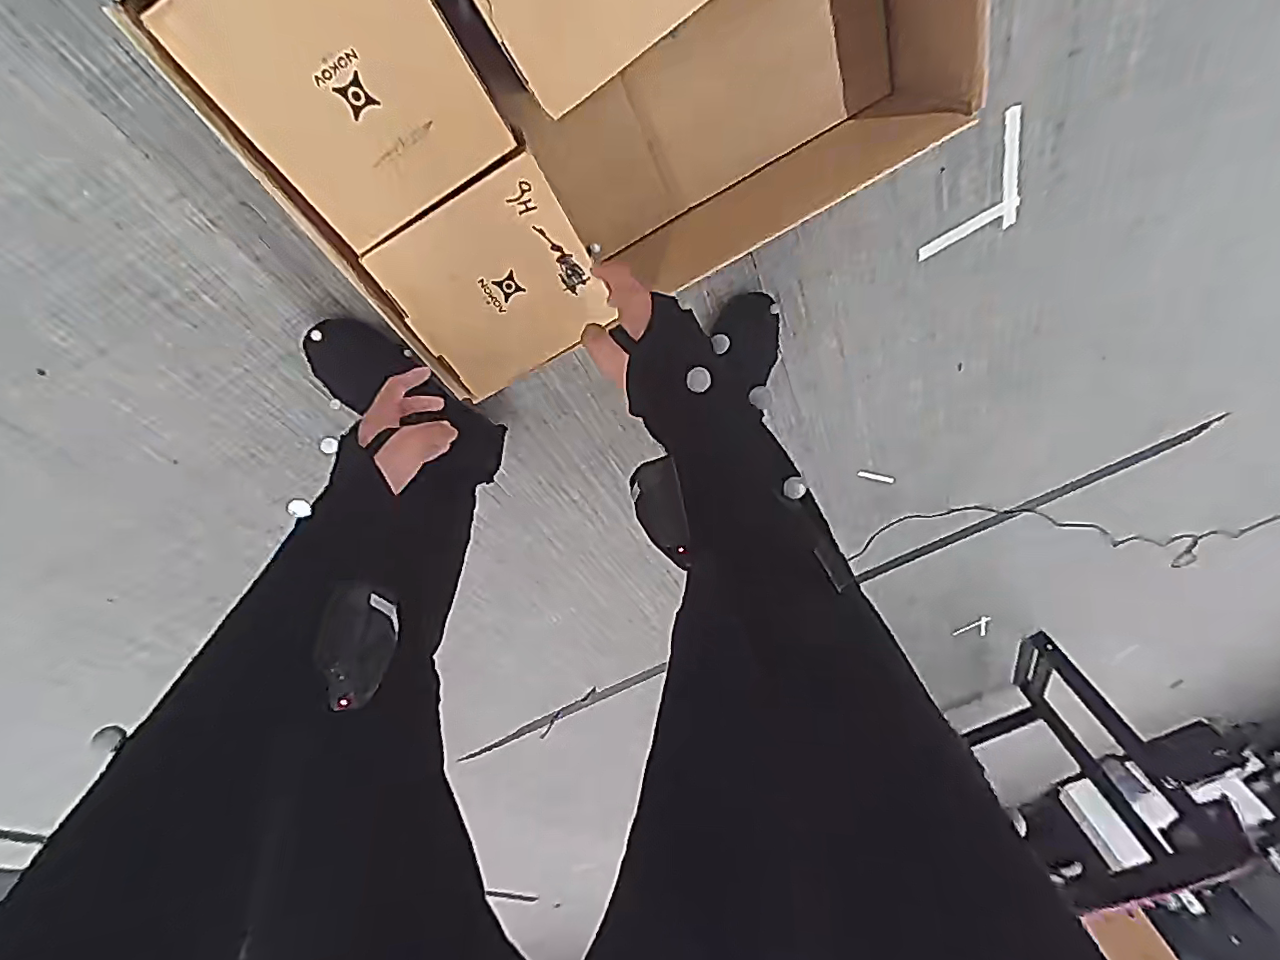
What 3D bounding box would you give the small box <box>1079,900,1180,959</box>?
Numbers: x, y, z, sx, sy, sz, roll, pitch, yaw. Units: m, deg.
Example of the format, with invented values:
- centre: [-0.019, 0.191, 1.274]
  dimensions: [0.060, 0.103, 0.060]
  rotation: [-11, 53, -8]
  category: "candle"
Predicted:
- centre: [1.542, 1.459, 1.713]
  dimensions: [0.168, 0.176, 0.179]
  rotation: [-27, 134, 7]
  category: "small box"
